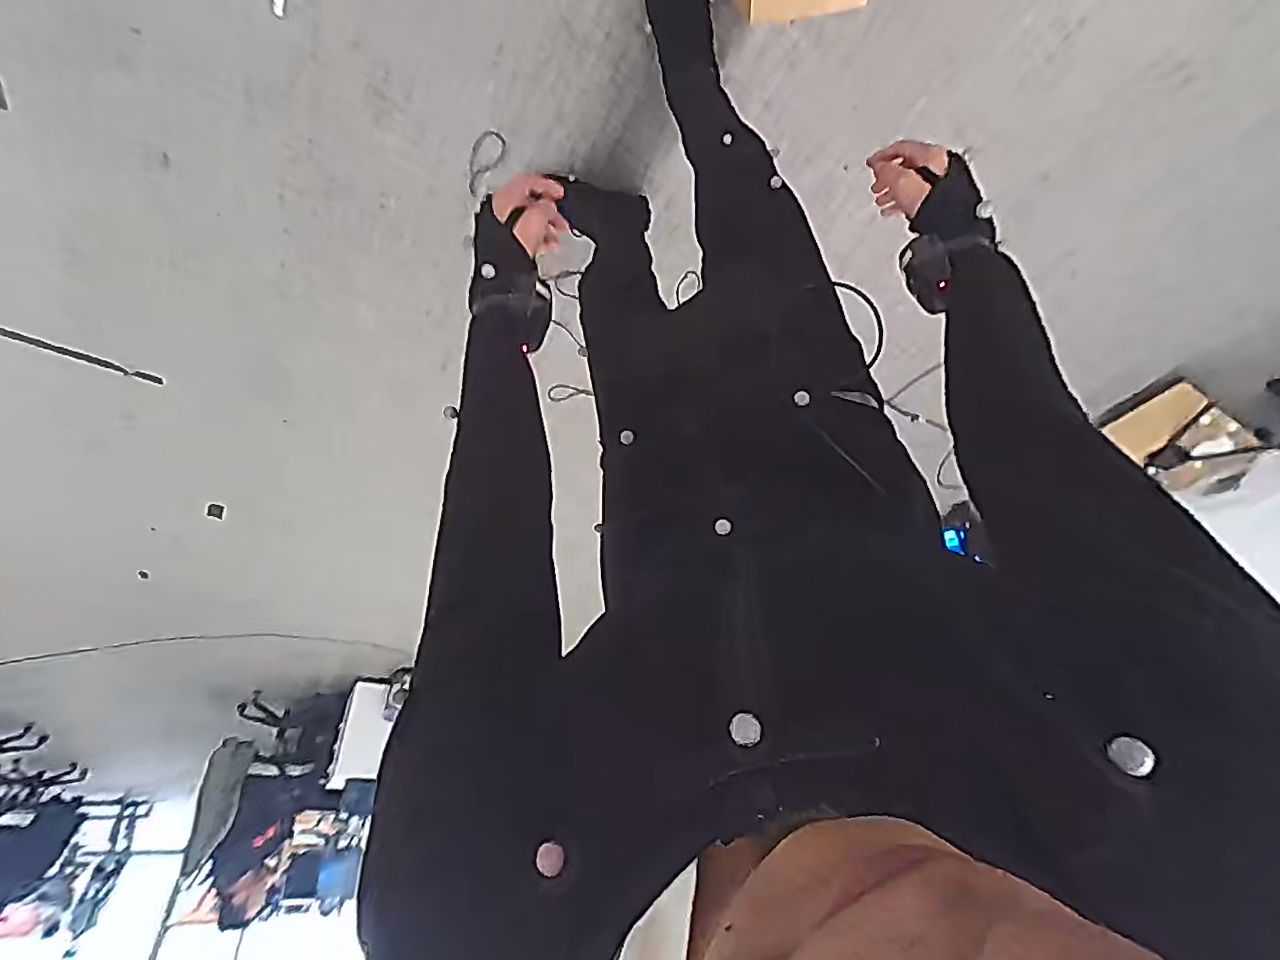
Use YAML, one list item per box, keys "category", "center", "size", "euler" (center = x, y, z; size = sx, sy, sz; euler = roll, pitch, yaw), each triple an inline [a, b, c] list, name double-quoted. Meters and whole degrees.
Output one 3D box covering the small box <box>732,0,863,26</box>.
- category: "small box"
  center: [0.228, -0.799, 0.790]
  size: [0.179, 0.176, 0.168]
  euler: [-8, 142, 2]
